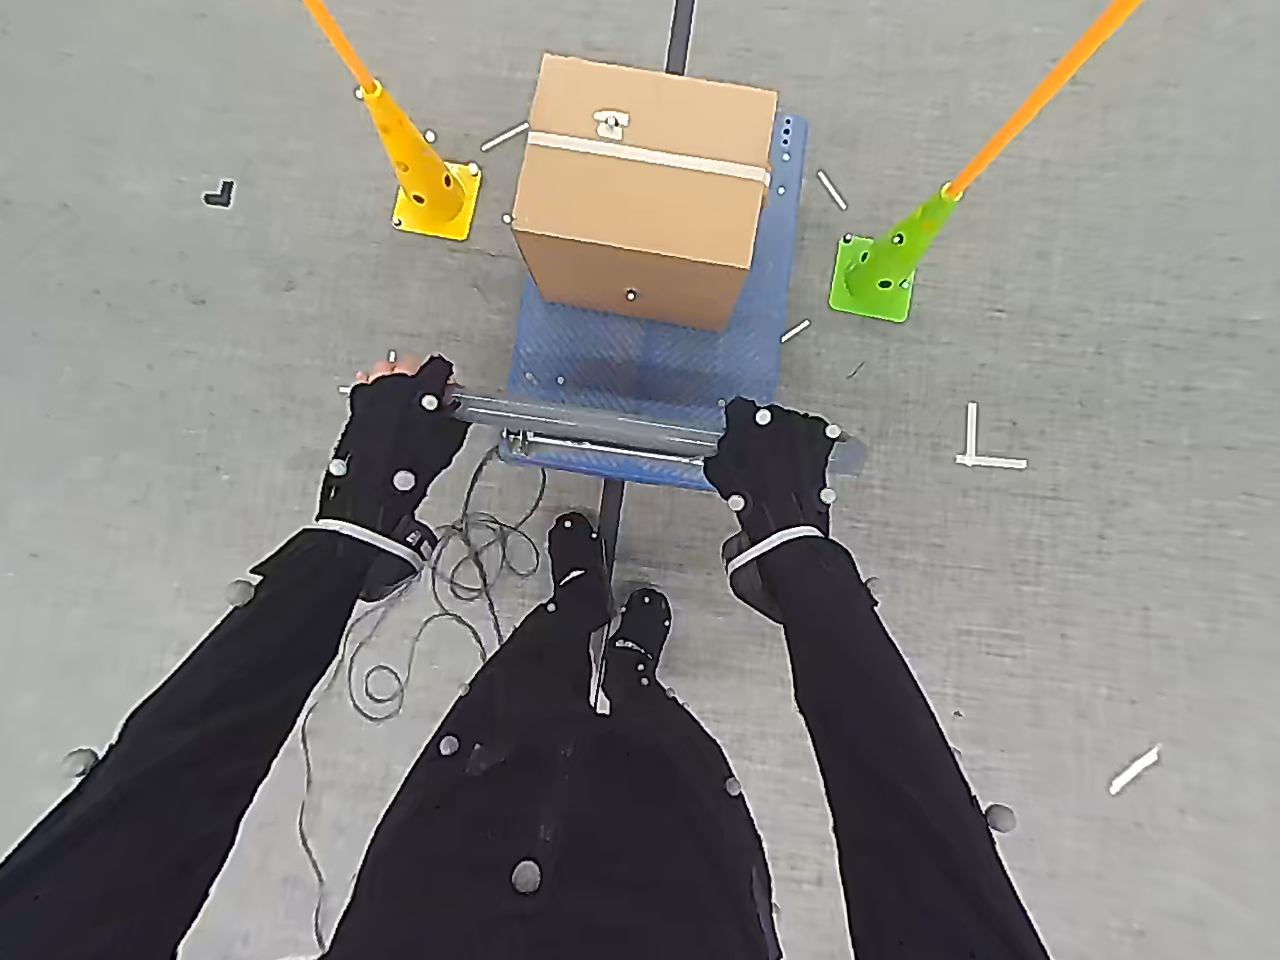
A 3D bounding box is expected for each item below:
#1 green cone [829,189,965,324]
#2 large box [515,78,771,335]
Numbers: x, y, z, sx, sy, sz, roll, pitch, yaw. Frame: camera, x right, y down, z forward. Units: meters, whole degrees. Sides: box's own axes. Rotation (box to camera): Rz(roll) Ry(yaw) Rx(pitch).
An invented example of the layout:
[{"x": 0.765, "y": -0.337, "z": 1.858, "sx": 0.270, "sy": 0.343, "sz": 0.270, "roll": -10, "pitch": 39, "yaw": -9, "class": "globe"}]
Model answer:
[{"x": 0.594, "y": -0.520, "z": 1.206, "sx": 0.202, "sy": 0.368, "sz": 0.200, "roll": 12, "pitch": 86, "yaw": 0, "class": "green cone"}, {"x": 0.012, "y": -0.506, "z": 1.068, "sx": 0.408, "sy": 0.320, "sz": 0.320, "roll": 10, "pitch": 86, "yaw": 2, "class": "large box"}]
